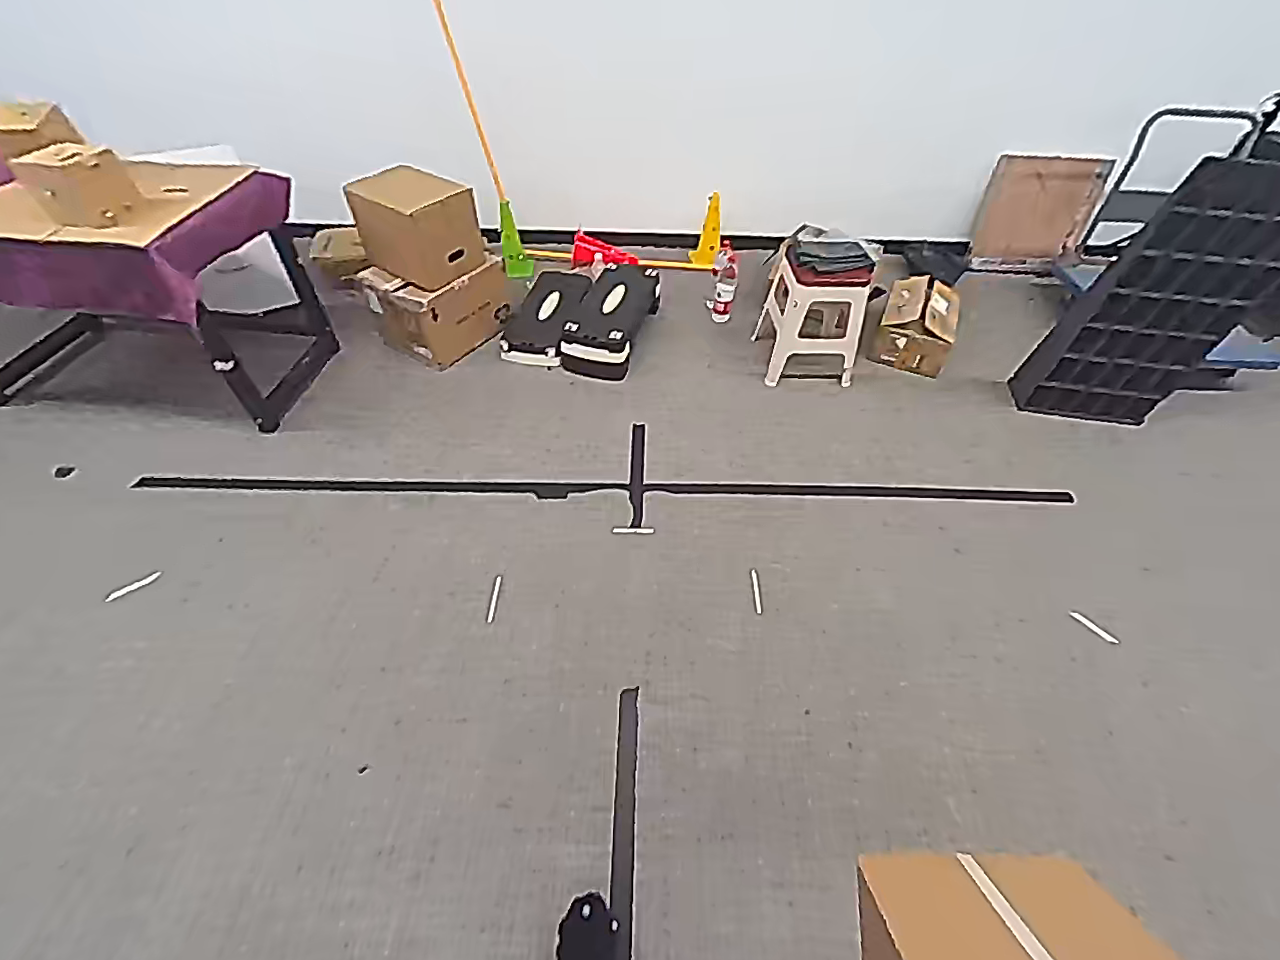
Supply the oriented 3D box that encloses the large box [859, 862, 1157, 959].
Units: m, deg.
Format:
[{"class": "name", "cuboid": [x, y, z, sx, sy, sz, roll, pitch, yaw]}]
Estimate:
[{"class": "large box", "cuboid": [0.467, 0.724, 0.607, 0.320, 0.408, 0.320, -1, 88, 5]}]
